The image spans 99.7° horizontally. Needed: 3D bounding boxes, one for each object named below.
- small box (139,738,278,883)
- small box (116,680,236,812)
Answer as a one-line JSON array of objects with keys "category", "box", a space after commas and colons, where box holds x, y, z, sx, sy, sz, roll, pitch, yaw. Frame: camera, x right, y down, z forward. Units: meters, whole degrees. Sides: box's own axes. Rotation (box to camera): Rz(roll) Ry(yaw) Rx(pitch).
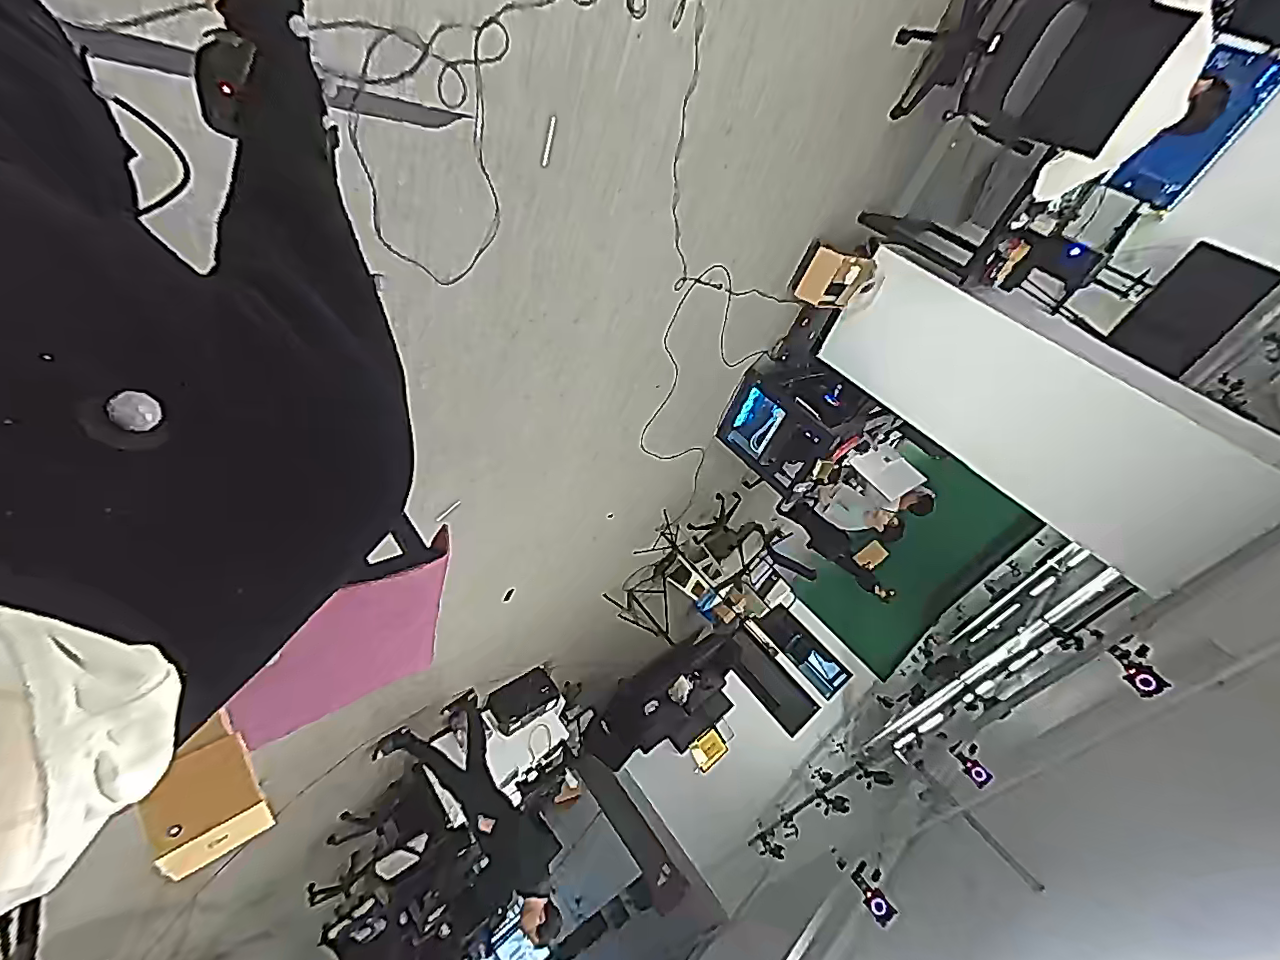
[{"category": "small box", "box": [-0.884, 0.672, 1.115, 0.179, 0.176, 0.168, -21, 147, -39]}, {"category": "small box", "box": [-1.002, 0.577, 1.180, 0.179, 0.176, 0.168, -20, 147, -38]}]
